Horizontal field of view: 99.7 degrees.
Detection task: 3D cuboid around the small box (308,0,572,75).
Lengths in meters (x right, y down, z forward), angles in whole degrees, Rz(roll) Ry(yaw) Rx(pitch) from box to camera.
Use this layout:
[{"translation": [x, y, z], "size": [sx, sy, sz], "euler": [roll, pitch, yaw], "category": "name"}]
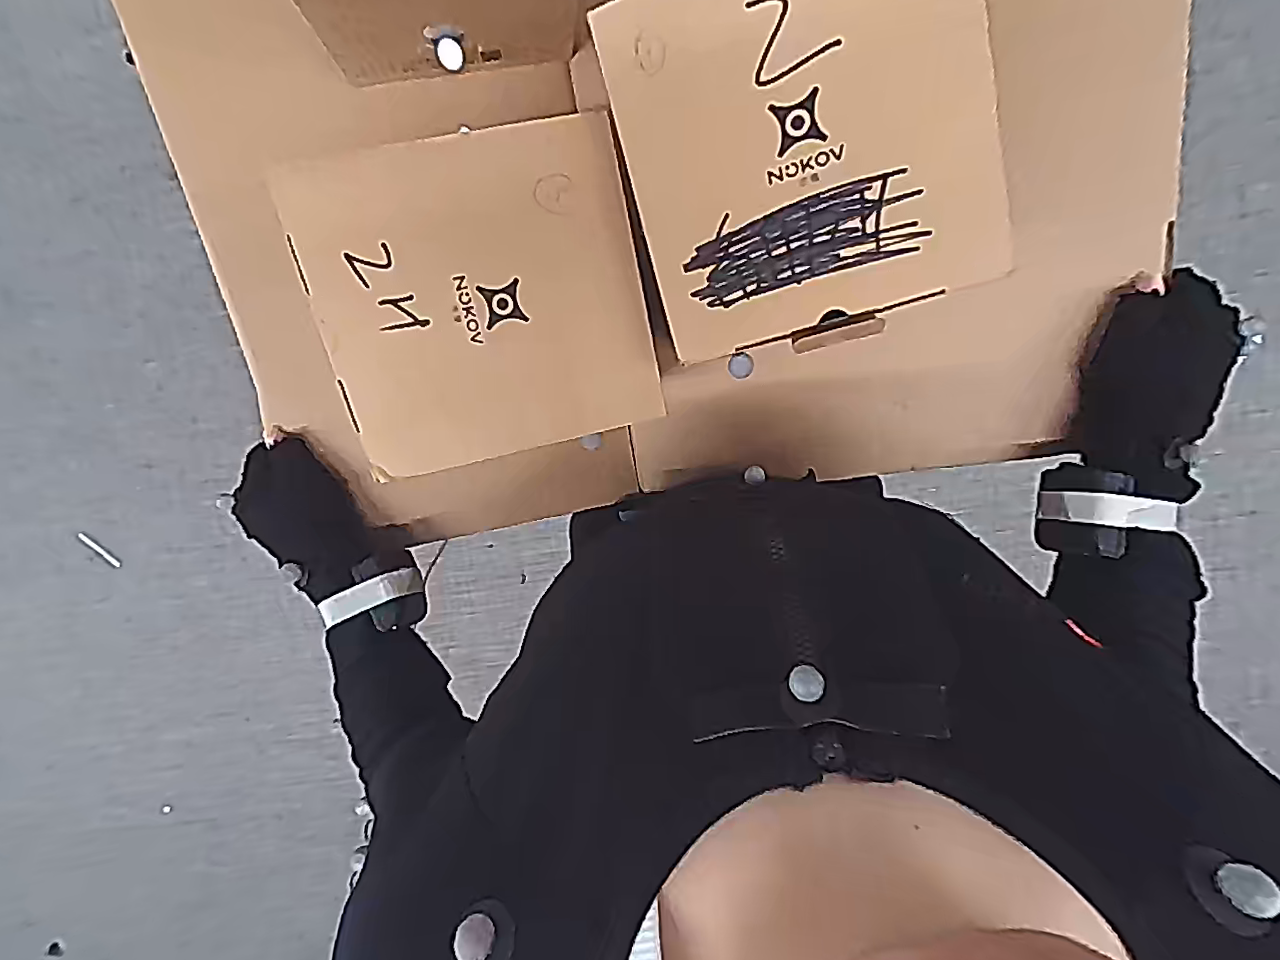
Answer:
[{"translation": [-0.132, -0.372, 0.303], "size": [0.168, 0.176, 0.179], "euler": [-12, 106, -8], "category": "small box"}]
